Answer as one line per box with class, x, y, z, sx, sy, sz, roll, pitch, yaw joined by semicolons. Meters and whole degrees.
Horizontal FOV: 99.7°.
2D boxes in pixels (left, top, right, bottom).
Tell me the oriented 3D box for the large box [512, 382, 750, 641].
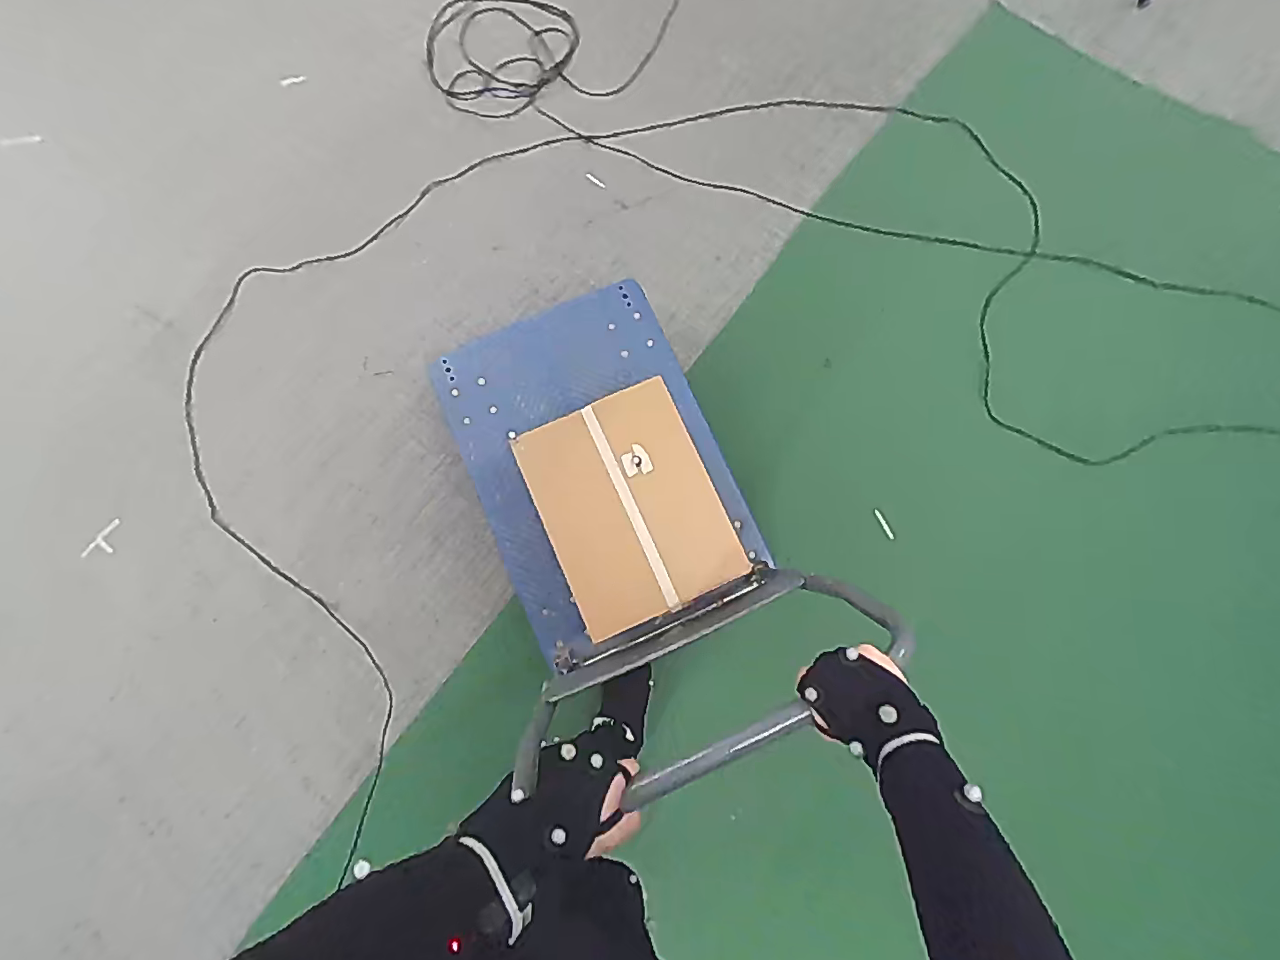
large box;-0.018;0.076;1.138;0.320;0.320;0.408;-24;80;-5
